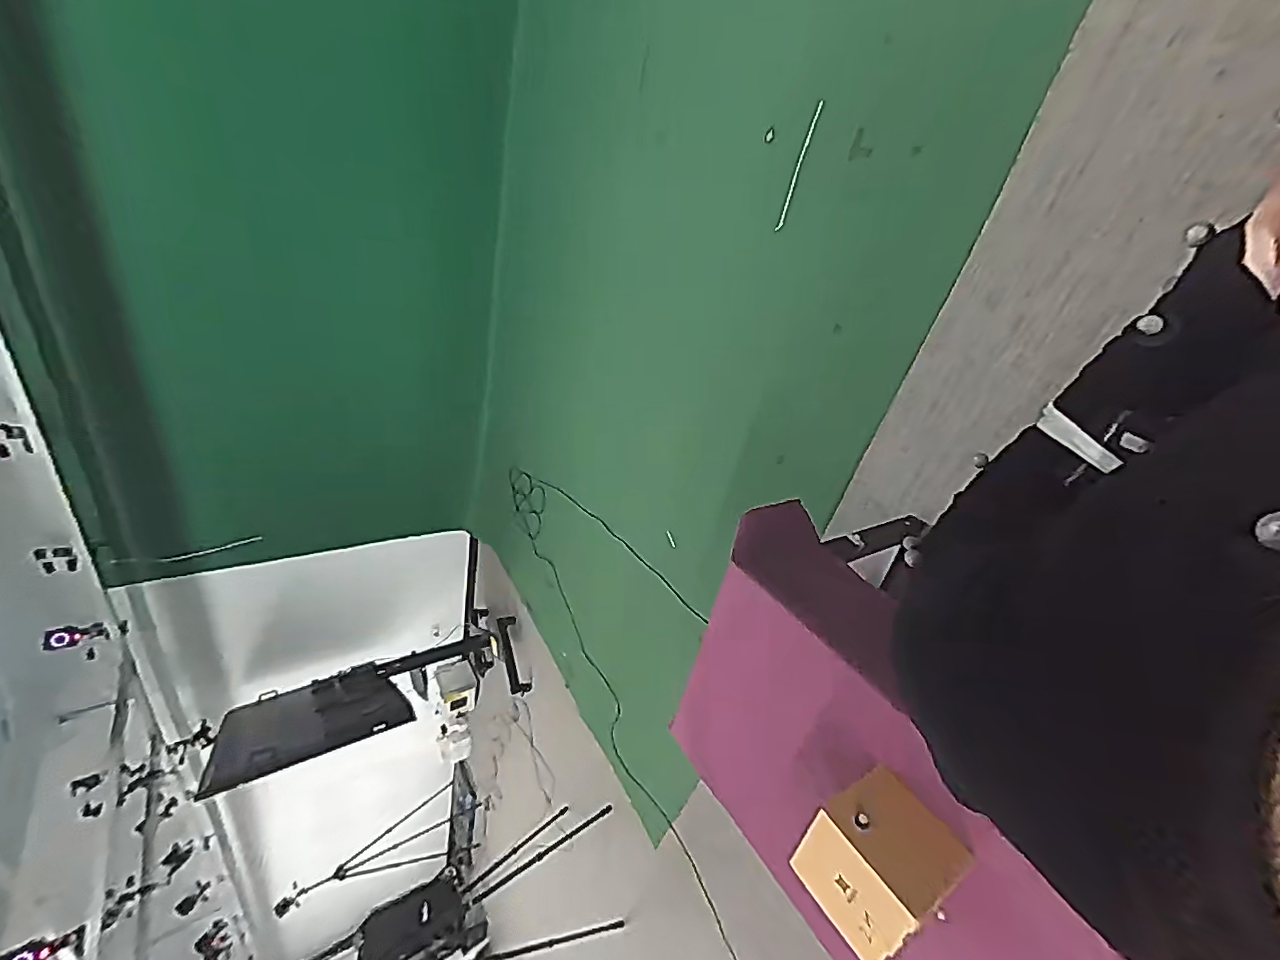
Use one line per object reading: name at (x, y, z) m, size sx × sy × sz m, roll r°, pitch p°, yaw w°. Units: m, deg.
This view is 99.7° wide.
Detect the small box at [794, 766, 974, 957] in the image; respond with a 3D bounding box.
small box at (0.392, 0.603, 0.882) m, size 0.179 × 0.176 × 0.168 m, roll 43°, pitch 131°, yaw 43°
